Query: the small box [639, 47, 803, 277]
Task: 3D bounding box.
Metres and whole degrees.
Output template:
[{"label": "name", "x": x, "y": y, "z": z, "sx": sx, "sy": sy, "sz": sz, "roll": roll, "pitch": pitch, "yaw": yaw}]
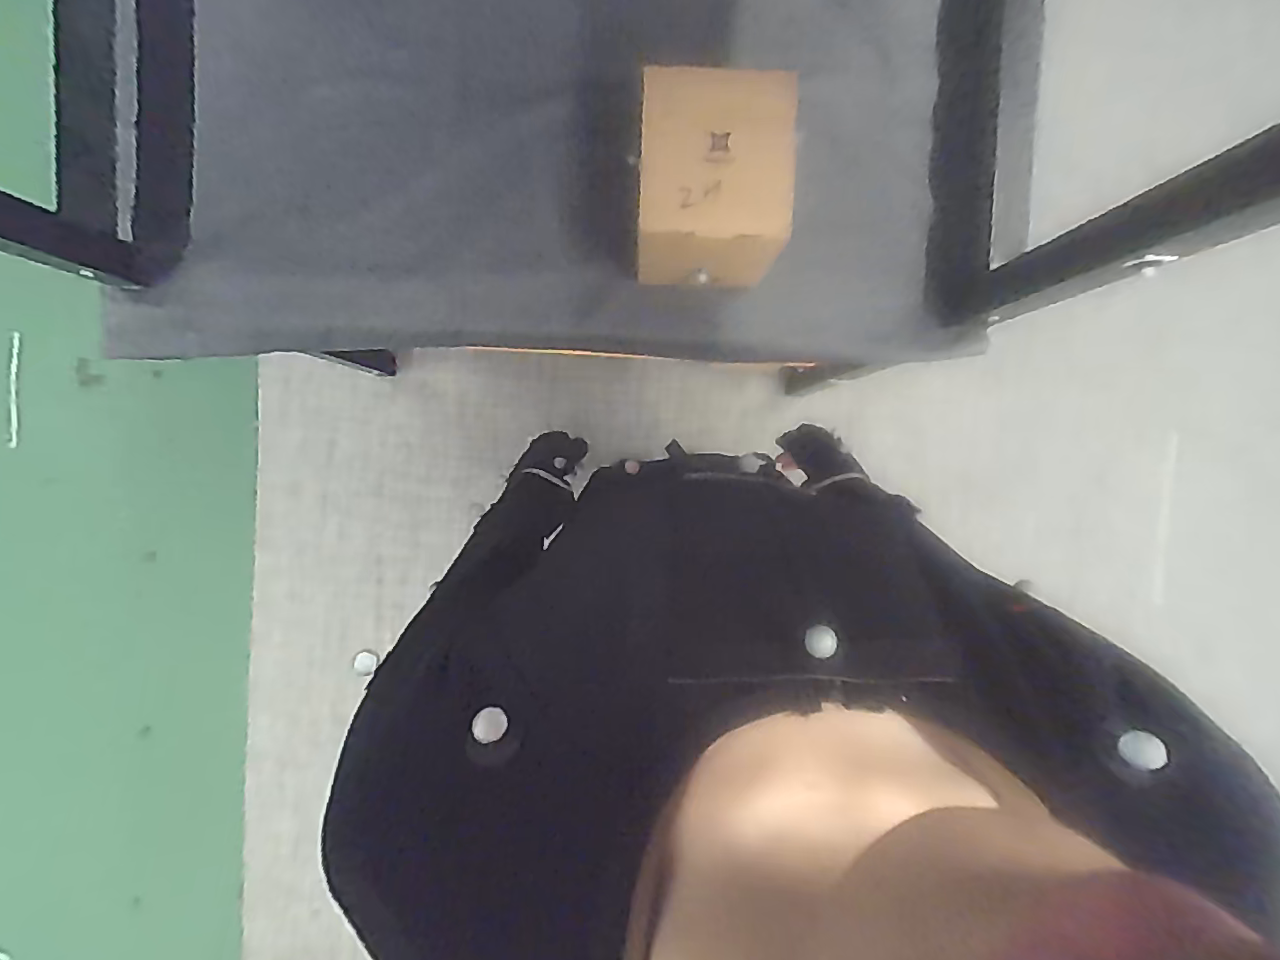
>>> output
[{"label": "small box", "x": 0.086, "y": -0.364, "z": 0.646, "sx": 0.168, "sy": 0.176, "sz": 0.179, "roll": 2, "pitch": 92, "yaw": 0}]
